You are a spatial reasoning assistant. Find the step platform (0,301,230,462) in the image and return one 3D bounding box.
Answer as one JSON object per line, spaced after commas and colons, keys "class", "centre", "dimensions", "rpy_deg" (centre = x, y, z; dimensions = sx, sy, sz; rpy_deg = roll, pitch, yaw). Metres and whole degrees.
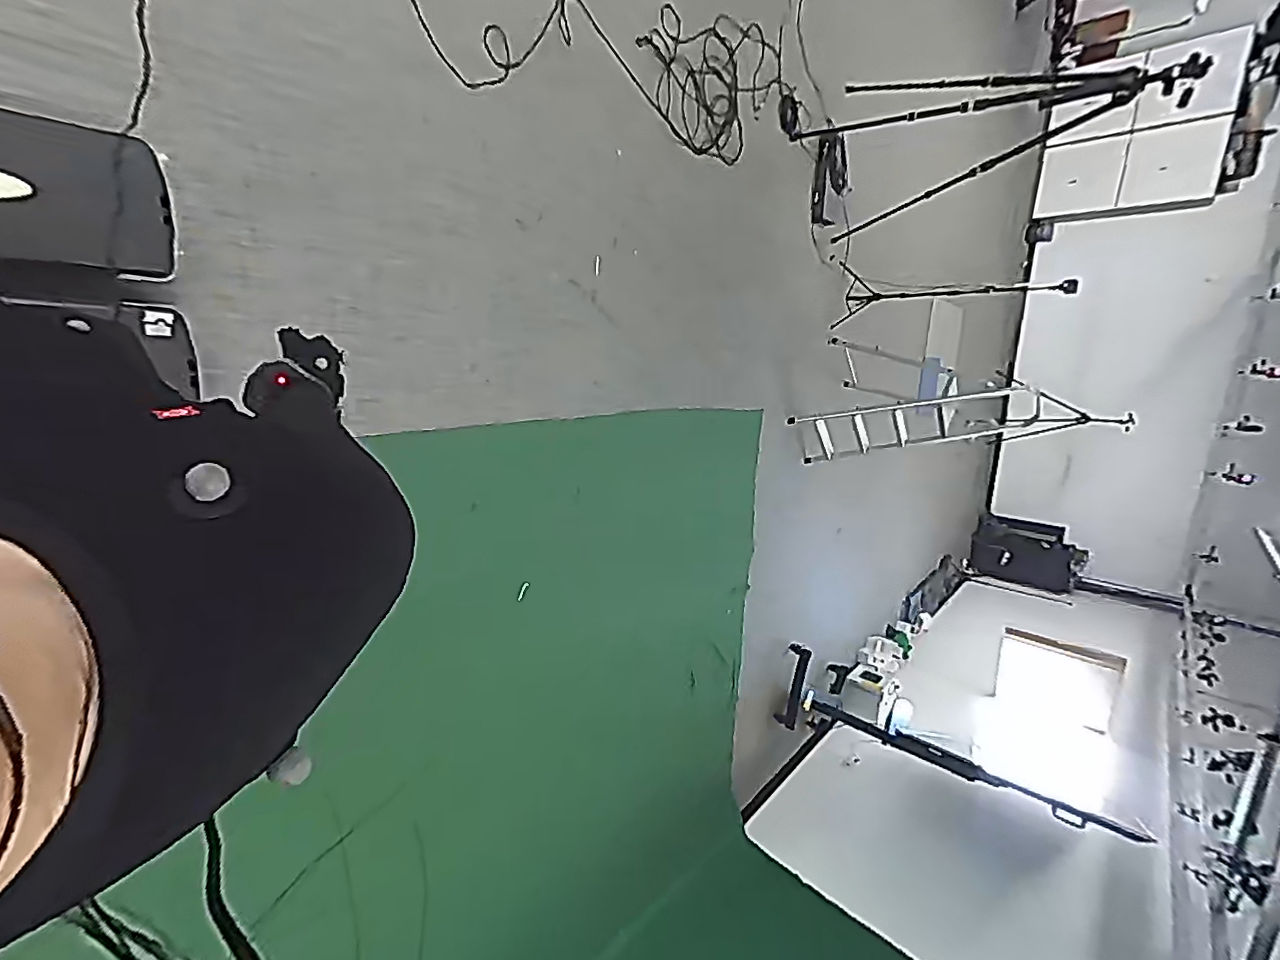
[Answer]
{"class": "step platform", "centre": [-1.112, -0.155, 0.879], "dimensions": [0.684, 0.204, 0.286], "rpy_deg": [-13, 109, -47]}
